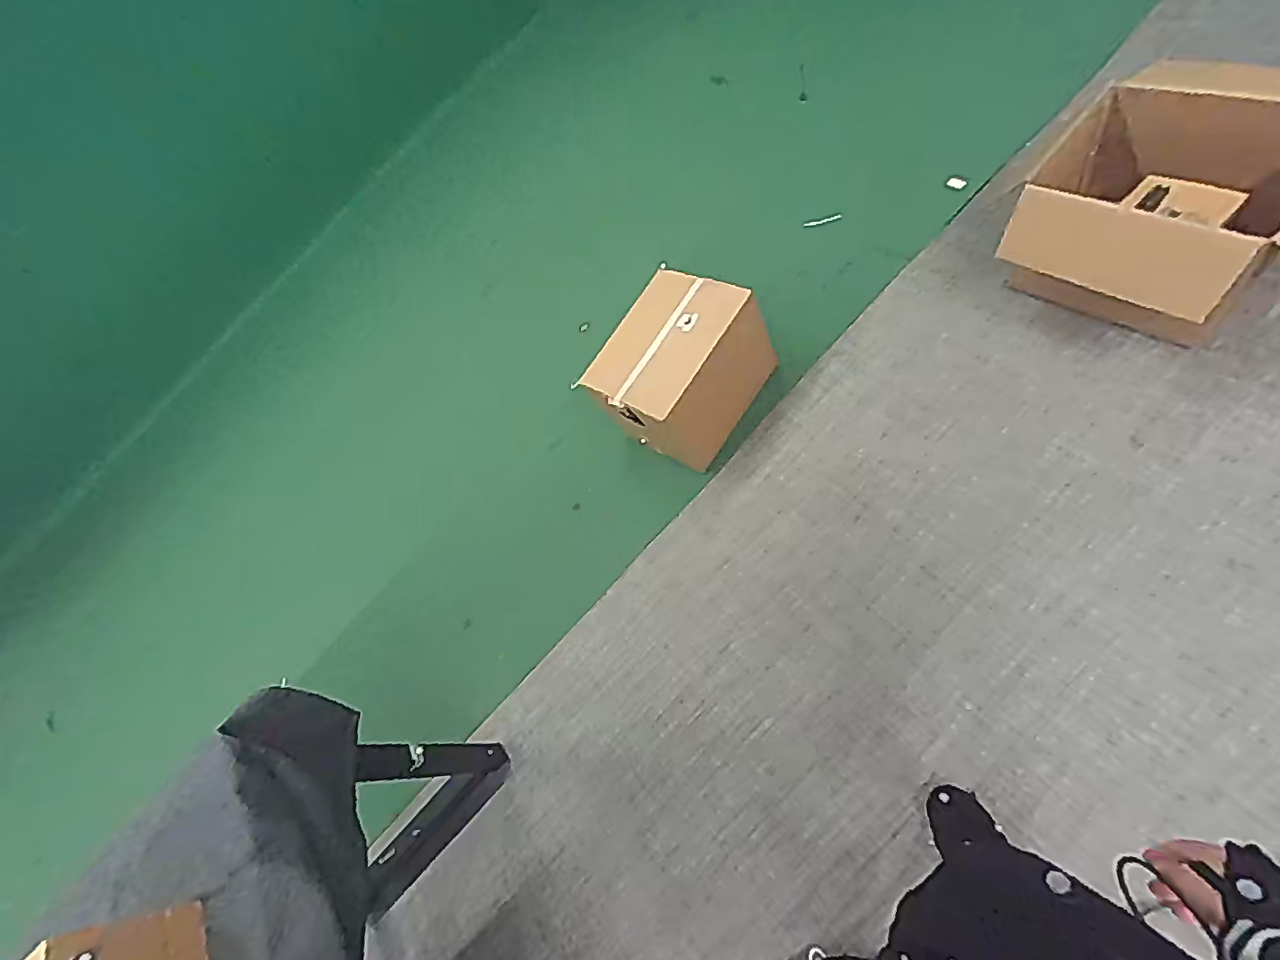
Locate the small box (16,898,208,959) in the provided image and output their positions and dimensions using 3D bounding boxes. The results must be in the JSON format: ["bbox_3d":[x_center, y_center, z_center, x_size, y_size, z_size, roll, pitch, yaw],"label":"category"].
[{"bbox_3d":[-0.646,0.646,0.636,0.168,0.176,0.179,-45,55,1],"label":"small box"}]
